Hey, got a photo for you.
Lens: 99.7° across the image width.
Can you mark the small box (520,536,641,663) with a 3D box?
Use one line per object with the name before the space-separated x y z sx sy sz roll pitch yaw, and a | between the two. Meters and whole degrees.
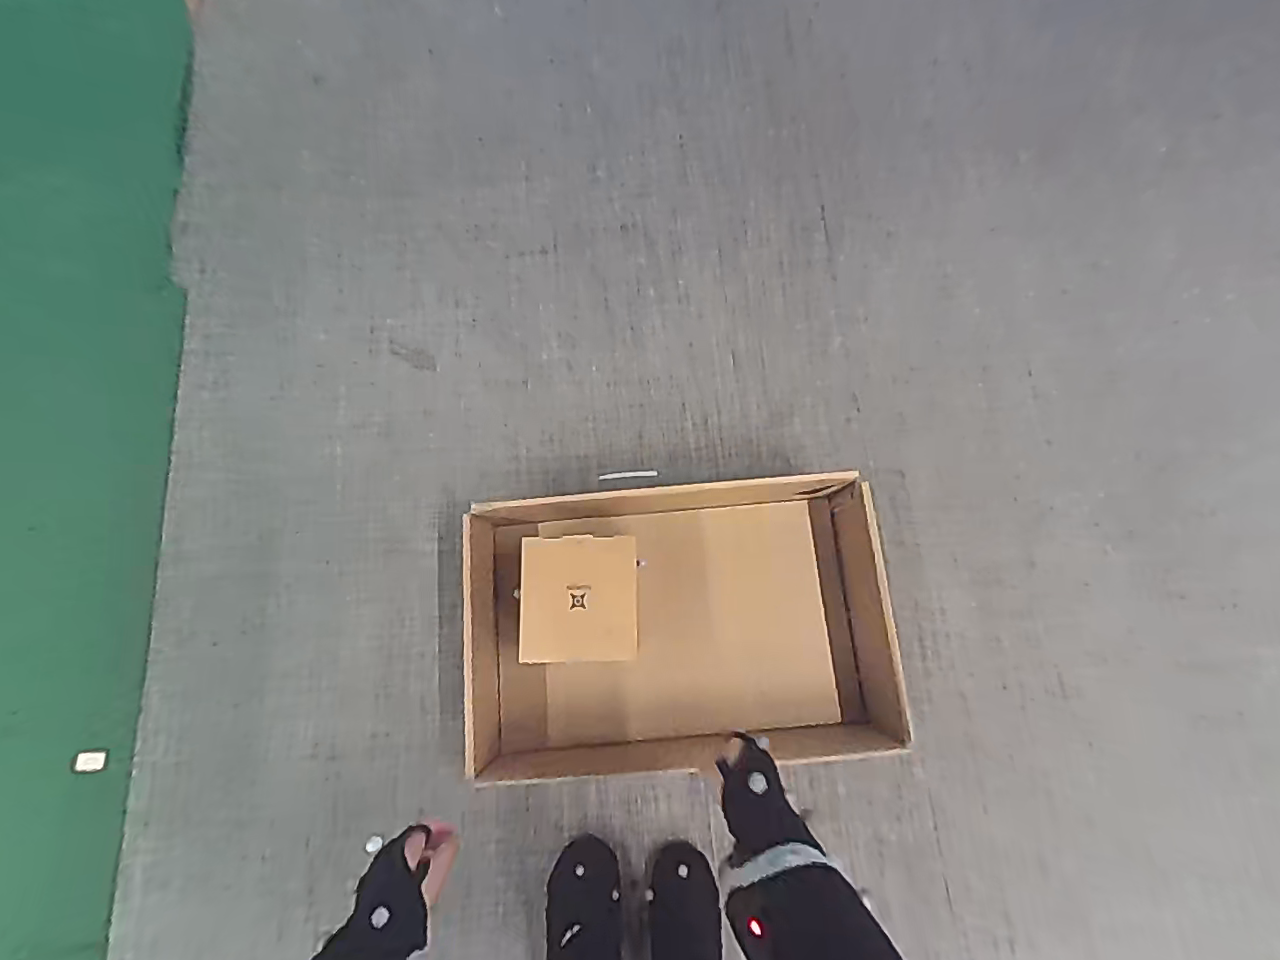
small box | -0.083 0.182 0.838 0.168 0.176 0.179 -1 77 1
